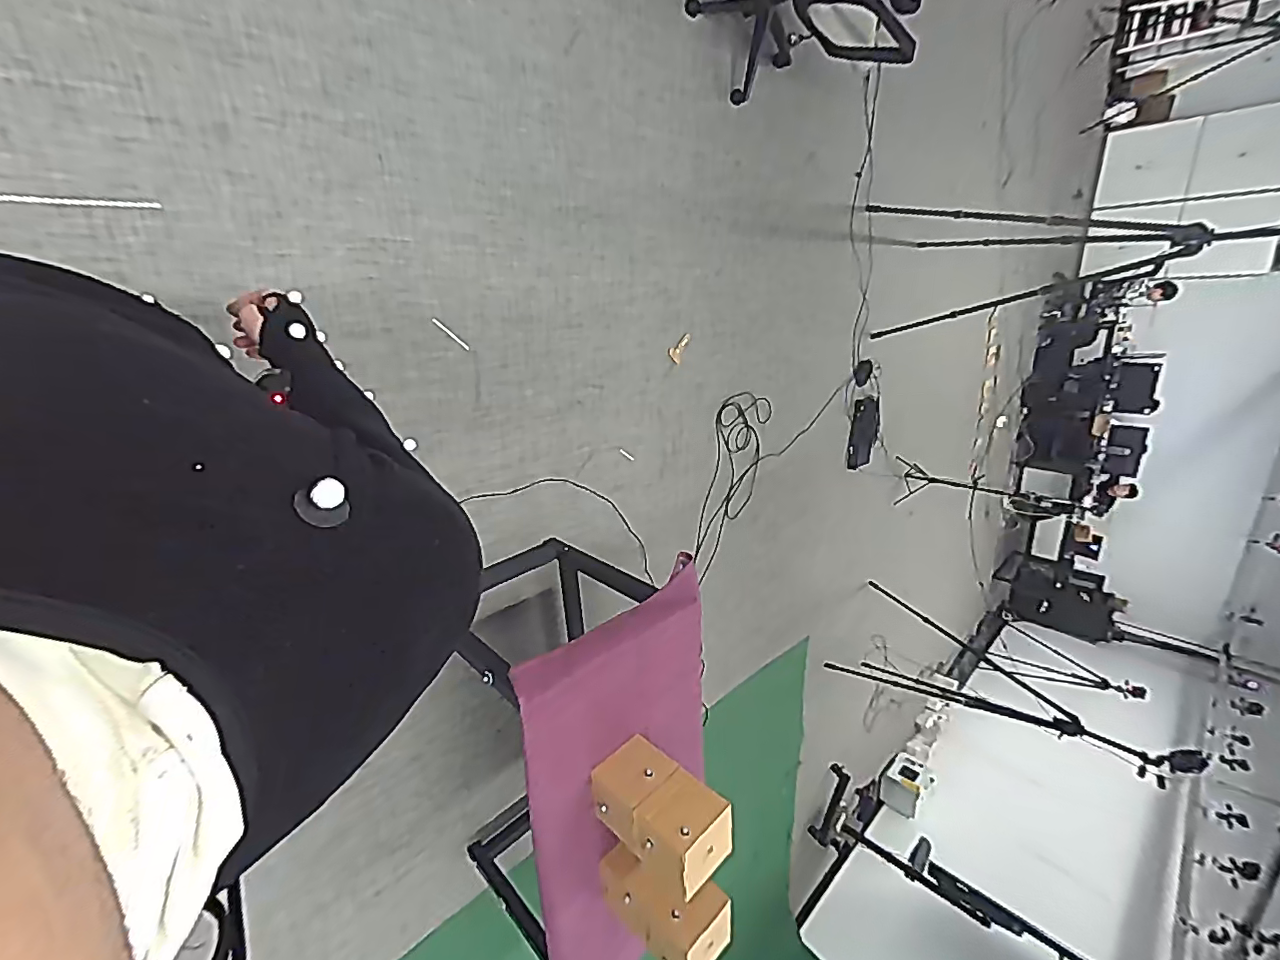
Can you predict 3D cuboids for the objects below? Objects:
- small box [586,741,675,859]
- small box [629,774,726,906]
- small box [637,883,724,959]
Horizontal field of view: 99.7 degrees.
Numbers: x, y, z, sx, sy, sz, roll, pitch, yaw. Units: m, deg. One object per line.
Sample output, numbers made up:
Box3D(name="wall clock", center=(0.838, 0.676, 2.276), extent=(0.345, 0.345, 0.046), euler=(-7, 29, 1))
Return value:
Box3D(name="small box", center=(-0.022, 0.844, 1.447), extent=(0.179, 0.176, 0.168), euler=(-21, 115, -40))
Box3D(name="small box", center=(0.093, 0.876, 1.337), extent=(0.179, 0.176, 0.168), euler=(-21, 116, -39))
Box3D(name="small box", center=(0.105, 1.189, 1.440), extent=(0.179, 0.176, 0.168), euler=(-19, 115, -42))
